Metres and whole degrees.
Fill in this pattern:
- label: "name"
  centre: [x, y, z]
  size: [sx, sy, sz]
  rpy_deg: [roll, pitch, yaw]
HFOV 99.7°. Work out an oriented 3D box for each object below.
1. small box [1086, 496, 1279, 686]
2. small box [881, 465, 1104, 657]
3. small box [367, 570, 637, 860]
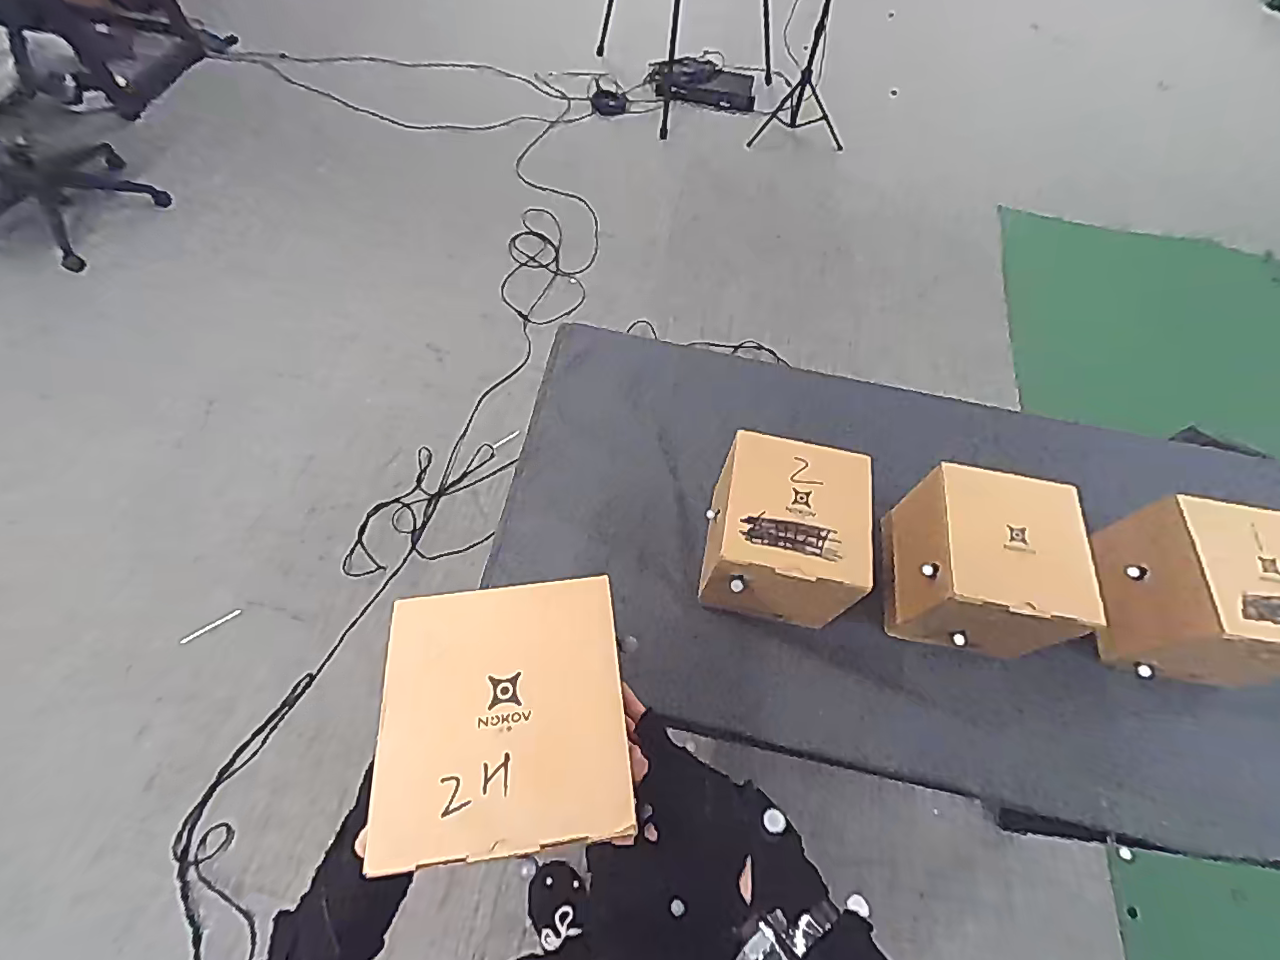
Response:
- label: "small box"
  centre: [0.704, 0.147, 0.680]
  size: [0.168, 0.176, 0.179]
  rpy_deg: [10, 60, 2]
- label: "small box"
  centre: [0.423, 0.108, 0.687]
  size: [0.168, 0.176, 0.179]
  rpy_deg: [11, 61, 2]
- label: "small box"
  centre: [-0.096, 0.194, 0.442]
  size: [0.168, 0.176, 0.179]
  rpy_deg: [-6, 56, -5]
